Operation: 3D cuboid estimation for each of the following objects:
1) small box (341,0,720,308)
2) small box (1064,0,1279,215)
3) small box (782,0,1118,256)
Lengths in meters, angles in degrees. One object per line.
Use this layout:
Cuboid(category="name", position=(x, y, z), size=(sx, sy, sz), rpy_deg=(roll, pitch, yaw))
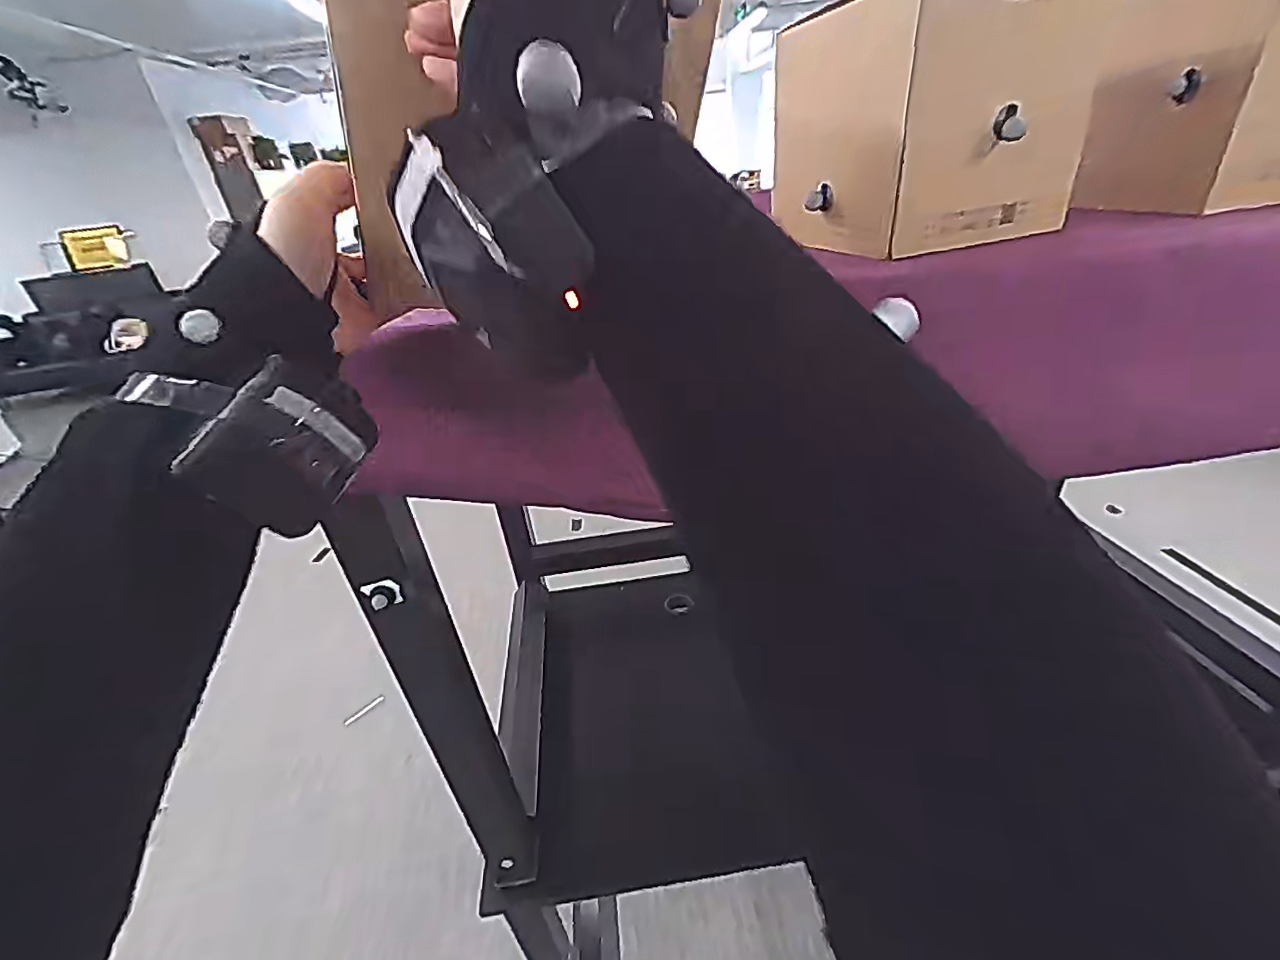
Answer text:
Cuboid(category="small box", position=(-0.066, -0.217, 0.324), size=(0.168, 0.176, 0.179), rpy_deg=(0, 40, -16))
Cuboid(category="small box", position=(0.498, -0.330, 0.466), size=(0.168, 0.176, 0.179), rpy_deg=(-10, 29, -6))
Cuboid(category="small box", position=(0.231, -0.288, 0.443), size=(0.168, 0.176, 0.179), rpy_deg=(-14, 31, -12))
